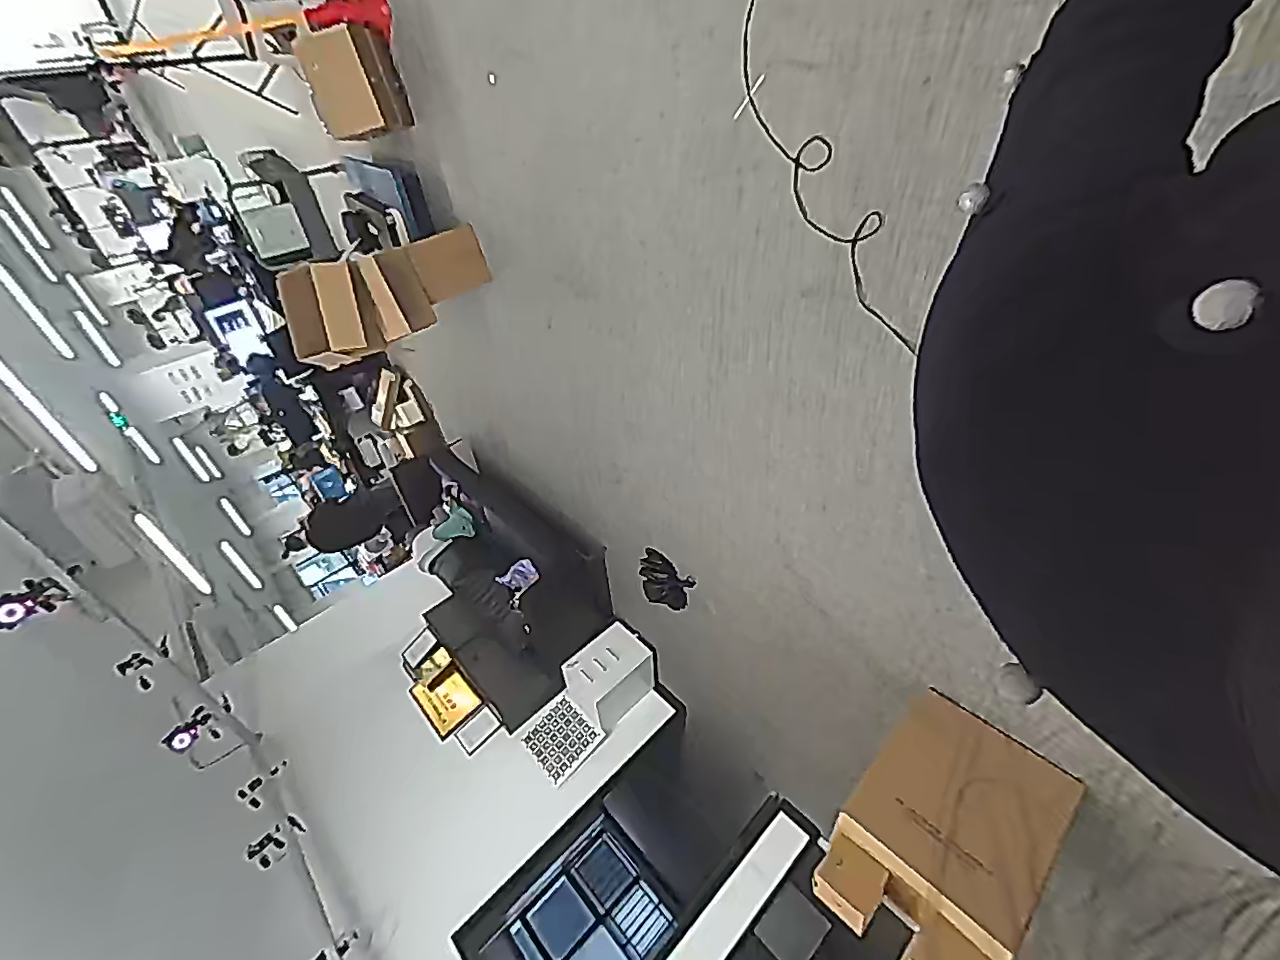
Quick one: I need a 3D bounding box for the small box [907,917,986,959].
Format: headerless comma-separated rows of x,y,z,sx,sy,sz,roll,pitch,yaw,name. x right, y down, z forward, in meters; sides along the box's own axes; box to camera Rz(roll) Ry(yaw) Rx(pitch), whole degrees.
0.909,1.456,1.597,0.179,0.176,0.168,33,140,36,small box

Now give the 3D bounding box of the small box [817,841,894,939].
0.709,1.342,1.787,0.179,0.176,0.168,23,135,43,small box
